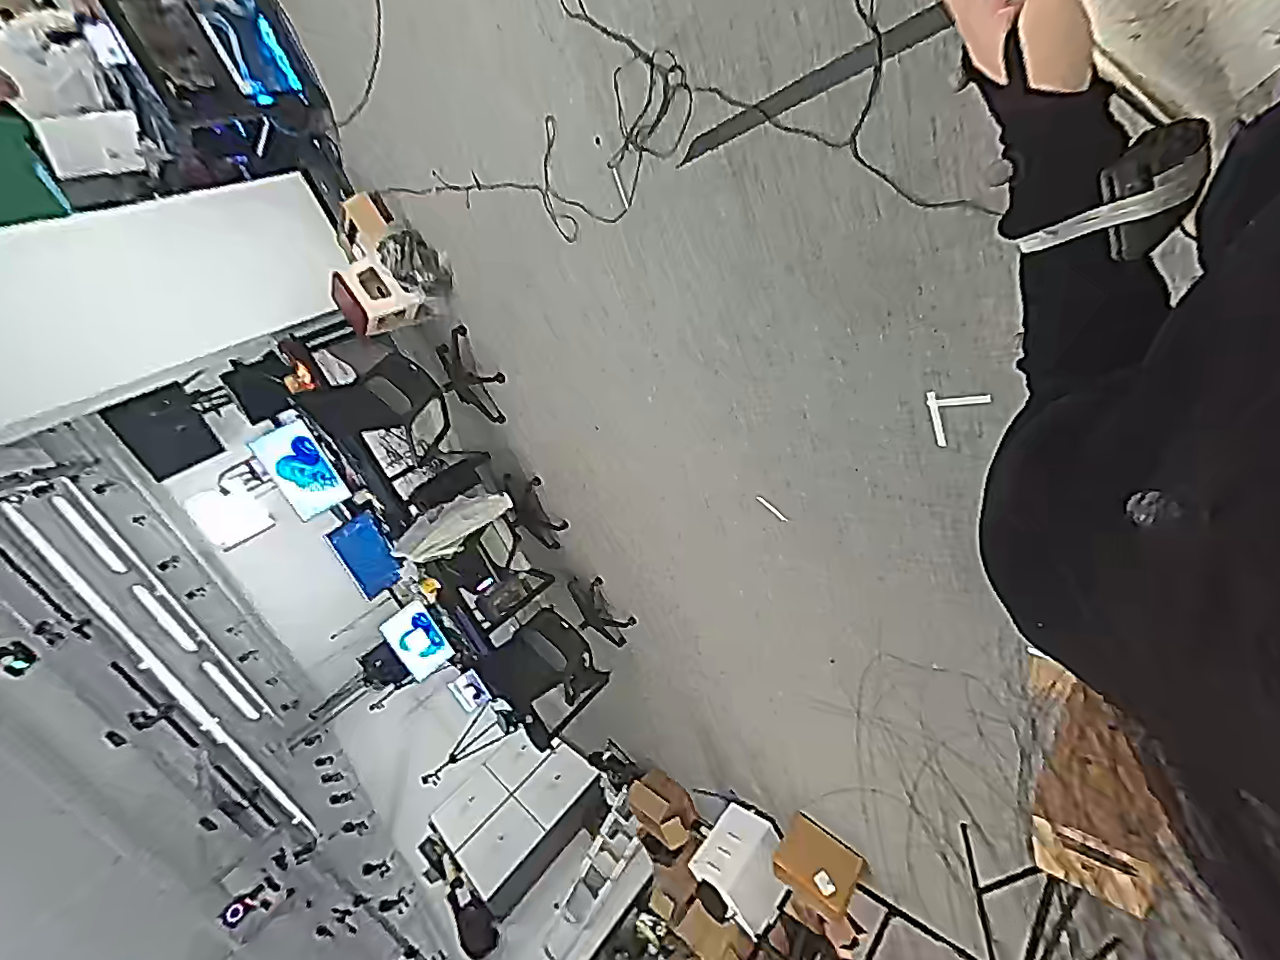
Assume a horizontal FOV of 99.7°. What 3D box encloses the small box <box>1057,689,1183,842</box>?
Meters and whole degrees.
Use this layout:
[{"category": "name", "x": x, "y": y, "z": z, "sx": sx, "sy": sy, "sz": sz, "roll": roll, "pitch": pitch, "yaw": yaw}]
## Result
[{"category": "small box", "x": 0.957, "y": 0.558, "z": 1.082, "sx": 0.168, "sy": 0.176, "sz": 0.179, "roll": 9, "pitch": 127, "yaw": 49}]
